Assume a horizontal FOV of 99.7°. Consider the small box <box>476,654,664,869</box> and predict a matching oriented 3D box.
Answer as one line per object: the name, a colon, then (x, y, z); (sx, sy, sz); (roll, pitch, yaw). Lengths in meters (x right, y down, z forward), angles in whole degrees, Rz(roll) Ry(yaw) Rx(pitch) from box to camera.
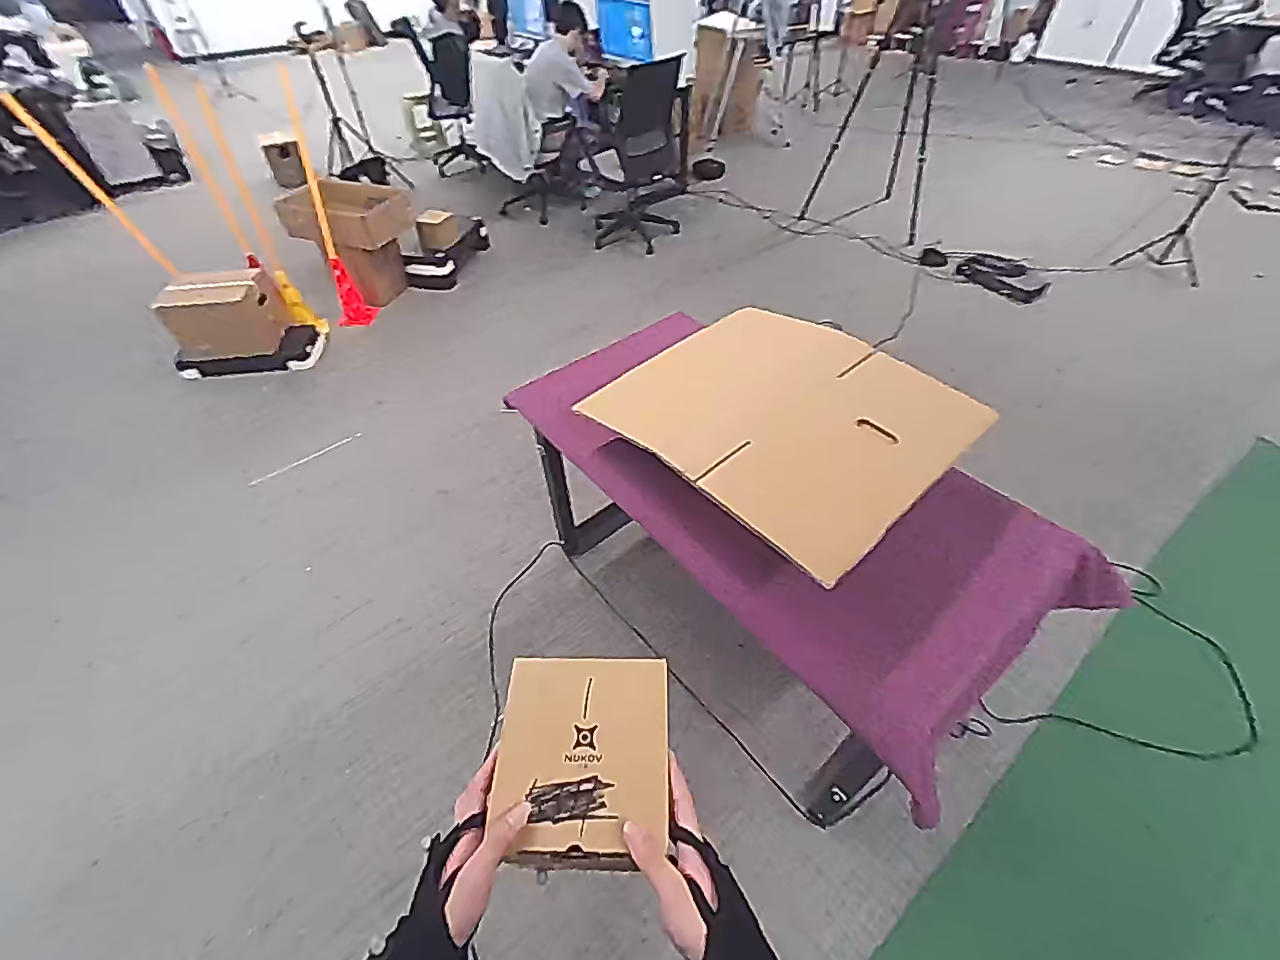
small box: (-0.058, 0.303, 0.578); (0.168, 0.176, 0.179); (0, 50, 1)
